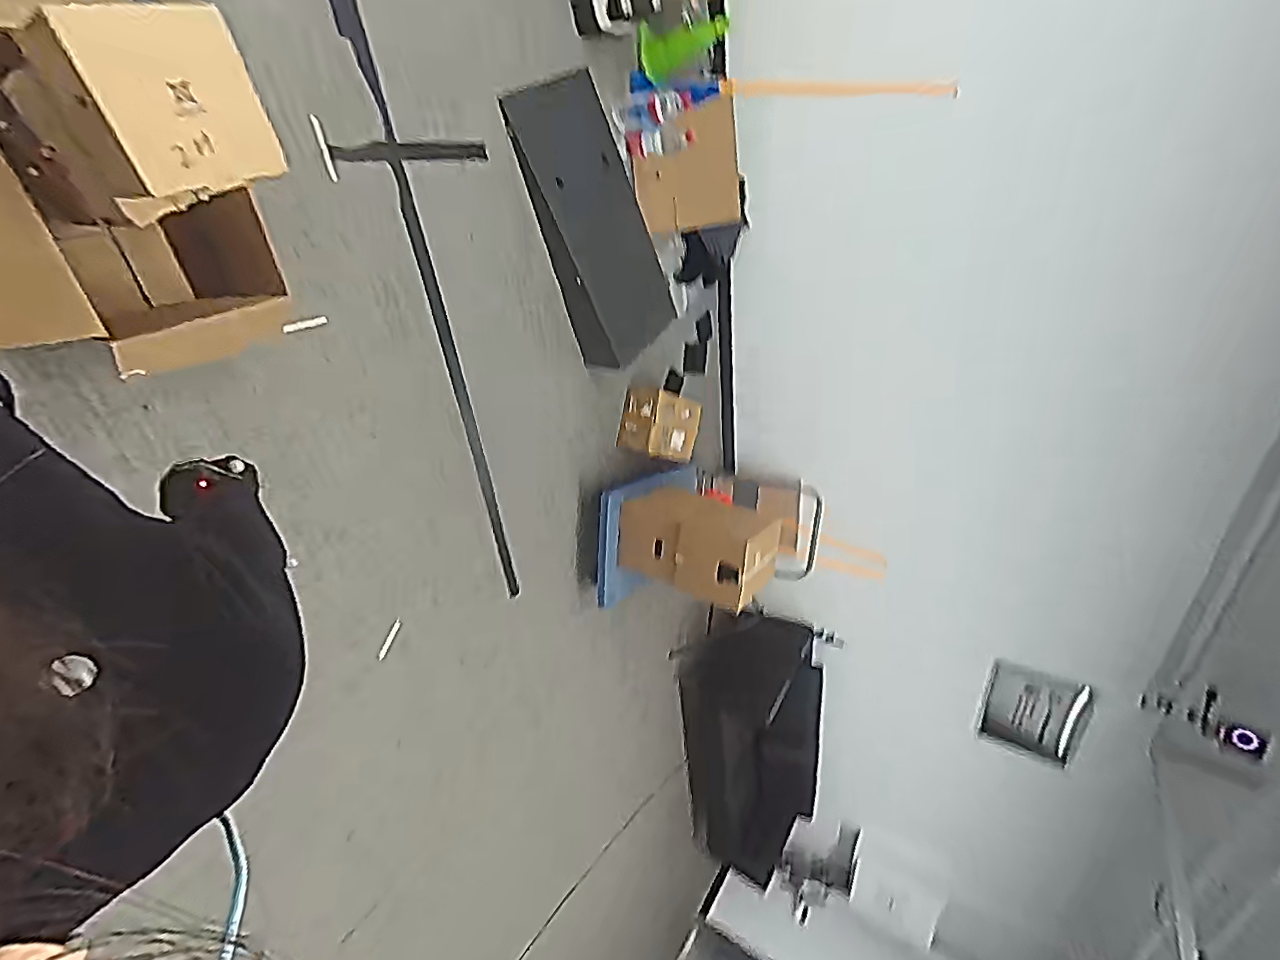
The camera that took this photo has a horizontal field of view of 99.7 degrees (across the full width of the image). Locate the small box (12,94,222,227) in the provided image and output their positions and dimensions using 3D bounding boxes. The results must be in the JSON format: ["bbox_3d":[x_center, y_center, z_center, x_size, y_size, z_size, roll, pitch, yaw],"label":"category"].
[{"bbox_3d":[-0.843,-0.535,0.881,0.168,0.176,0.179,-53,144,-27],"label":"small box"}]

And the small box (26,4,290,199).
[{"bbox_3d":[-0.594,-0.462,0.674,0.168,0.176,0.179,-41,137,-37],"label":"small box"}]
